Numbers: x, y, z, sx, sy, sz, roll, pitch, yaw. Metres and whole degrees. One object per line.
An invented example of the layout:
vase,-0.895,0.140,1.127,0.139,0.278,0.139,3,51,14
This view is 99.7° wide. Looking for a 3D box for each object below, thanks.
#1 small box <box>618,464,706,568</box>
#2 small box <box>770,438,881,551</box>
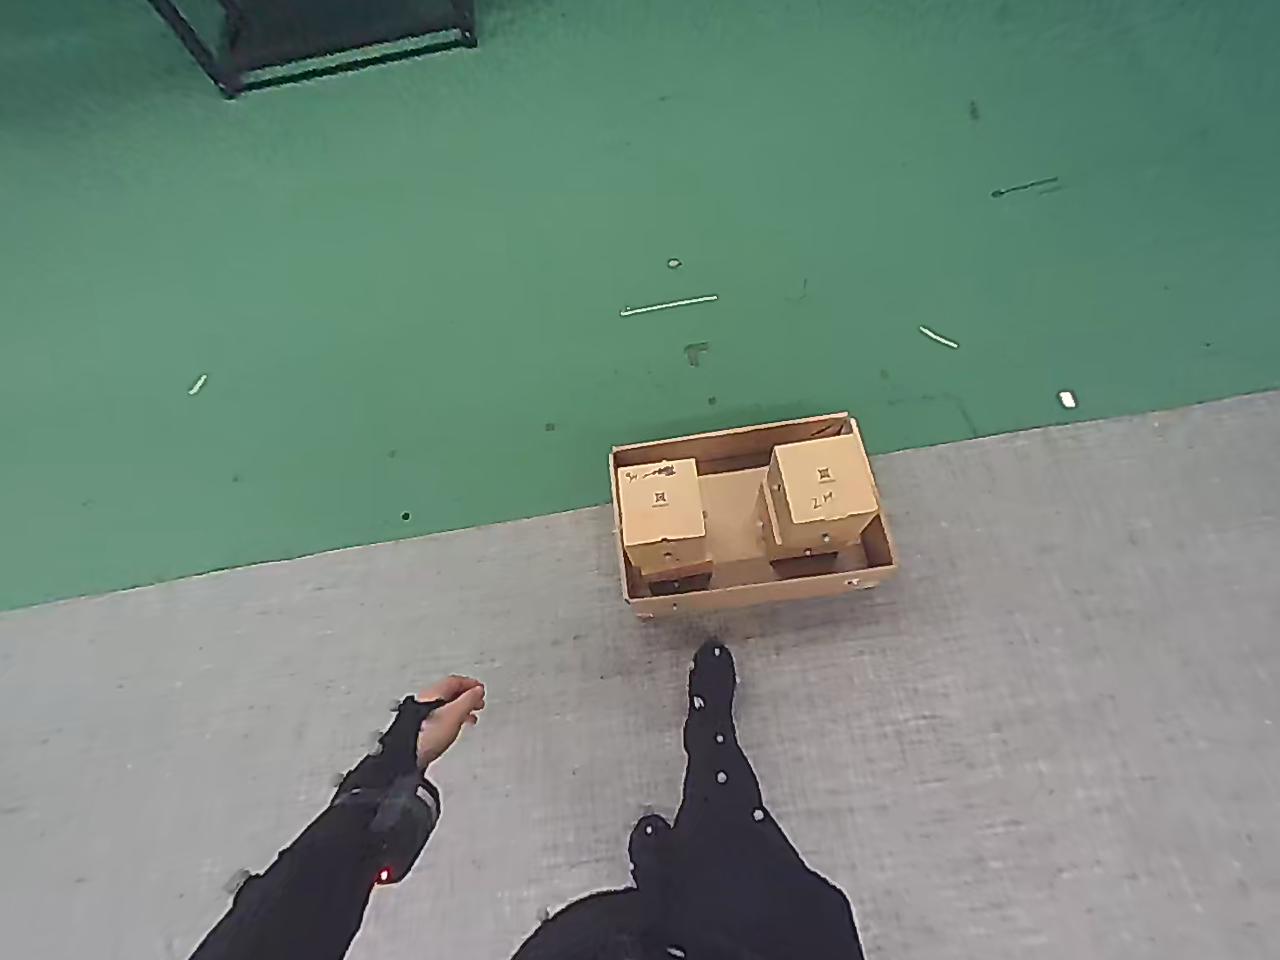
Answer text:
small box,0.051,0.085,1.154,0.168,0.176,0.179,-7,67,3
small box,0.378,0.034,1.138,0.168,0.176,0.179,-9,67,4
